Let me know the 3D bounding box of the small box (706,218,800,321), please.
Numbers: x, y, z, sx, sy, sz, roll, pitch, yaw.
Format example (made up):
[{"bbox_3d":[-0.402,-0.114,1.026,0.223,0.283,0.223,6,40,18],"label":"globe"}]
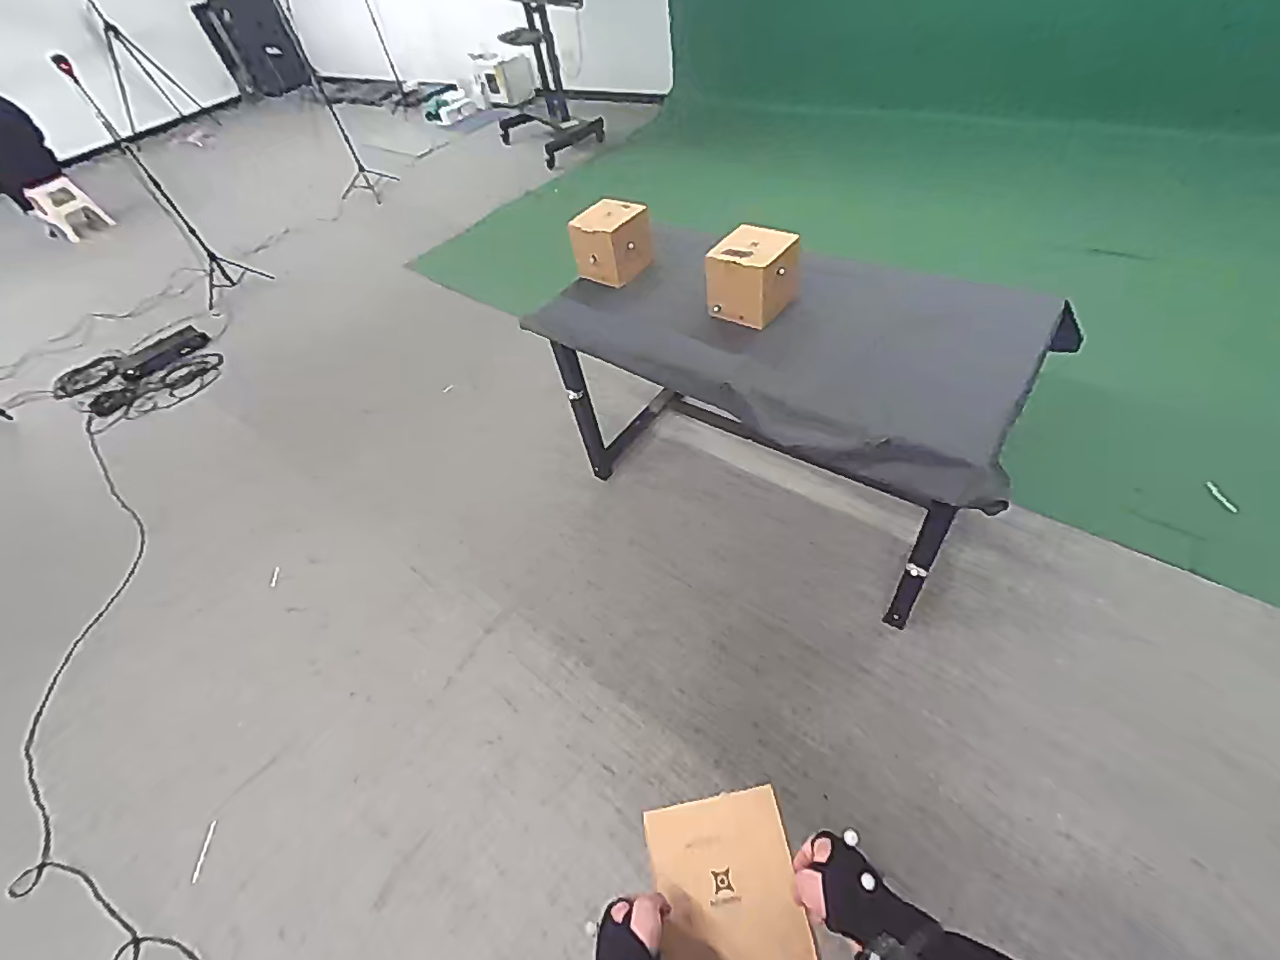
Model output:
[{"bbox_3d":[0.287,-0.531,1.369,0.168,0.176,0.179,28,60,30],"label":"small box"}]

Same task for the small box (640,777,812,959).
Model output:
[{"bbox_3d":[0.109,0.492,0.677,0.168,0.176,0.179,-15,53,6],"label":"small box"}]

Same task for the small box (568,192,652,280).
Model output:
[{"bbox_3d":[-0.080,-0.721,1.601,0.168,0.176,0.179,27,61,27],"label":"small box"}]
